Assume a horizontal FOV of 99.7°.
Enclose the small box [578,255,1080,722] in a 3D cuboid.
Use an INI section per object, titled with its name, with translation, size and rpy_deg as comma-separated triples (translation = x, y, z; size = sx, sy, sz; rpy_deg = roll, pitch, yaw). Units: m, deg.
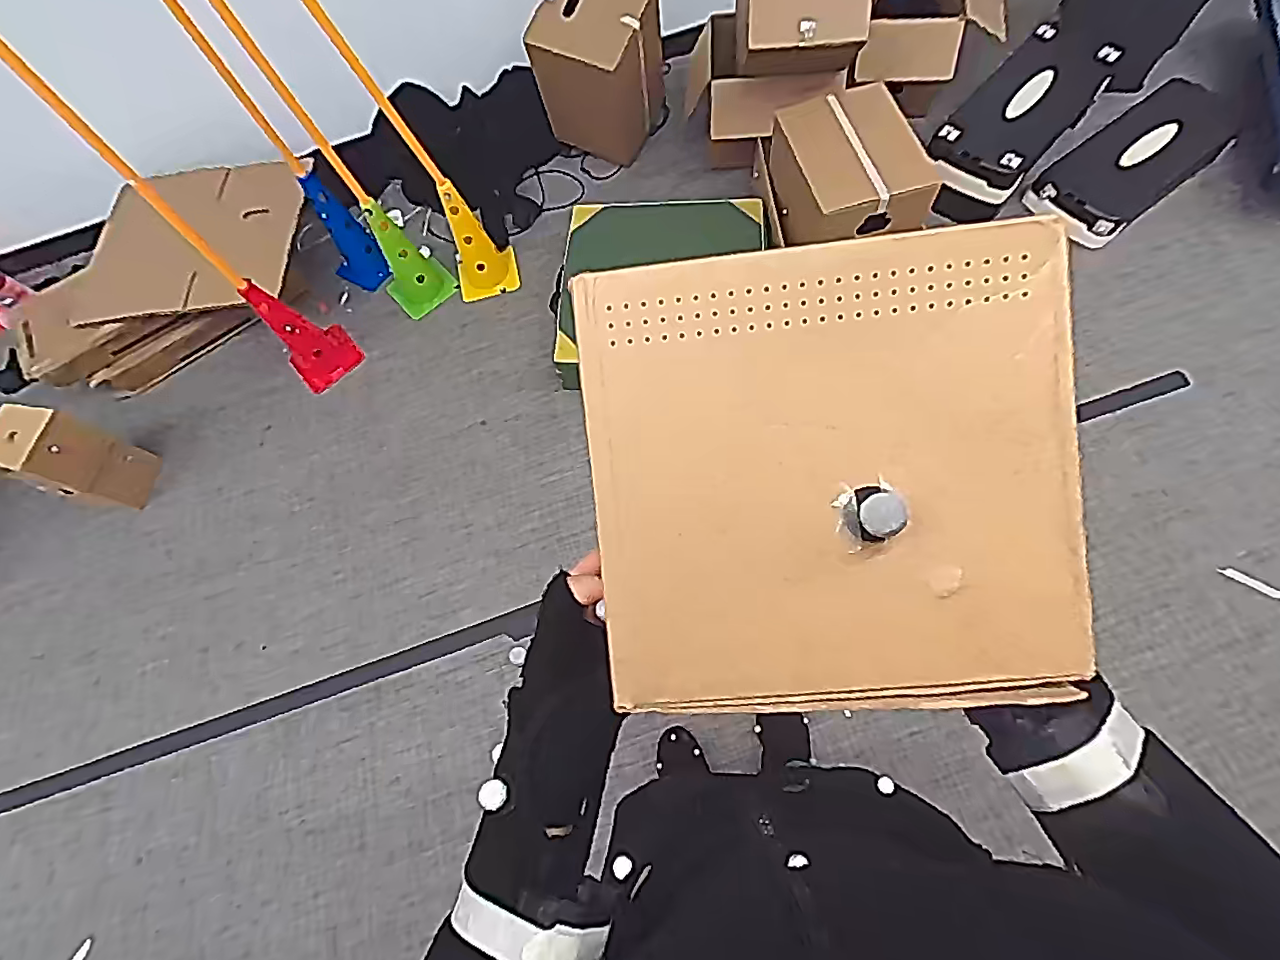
[small box]
translation = 0.075, -0.002, 0.283
size = 0.179, 0.168, 0.176
rpy_deg = -7, 92, 4
